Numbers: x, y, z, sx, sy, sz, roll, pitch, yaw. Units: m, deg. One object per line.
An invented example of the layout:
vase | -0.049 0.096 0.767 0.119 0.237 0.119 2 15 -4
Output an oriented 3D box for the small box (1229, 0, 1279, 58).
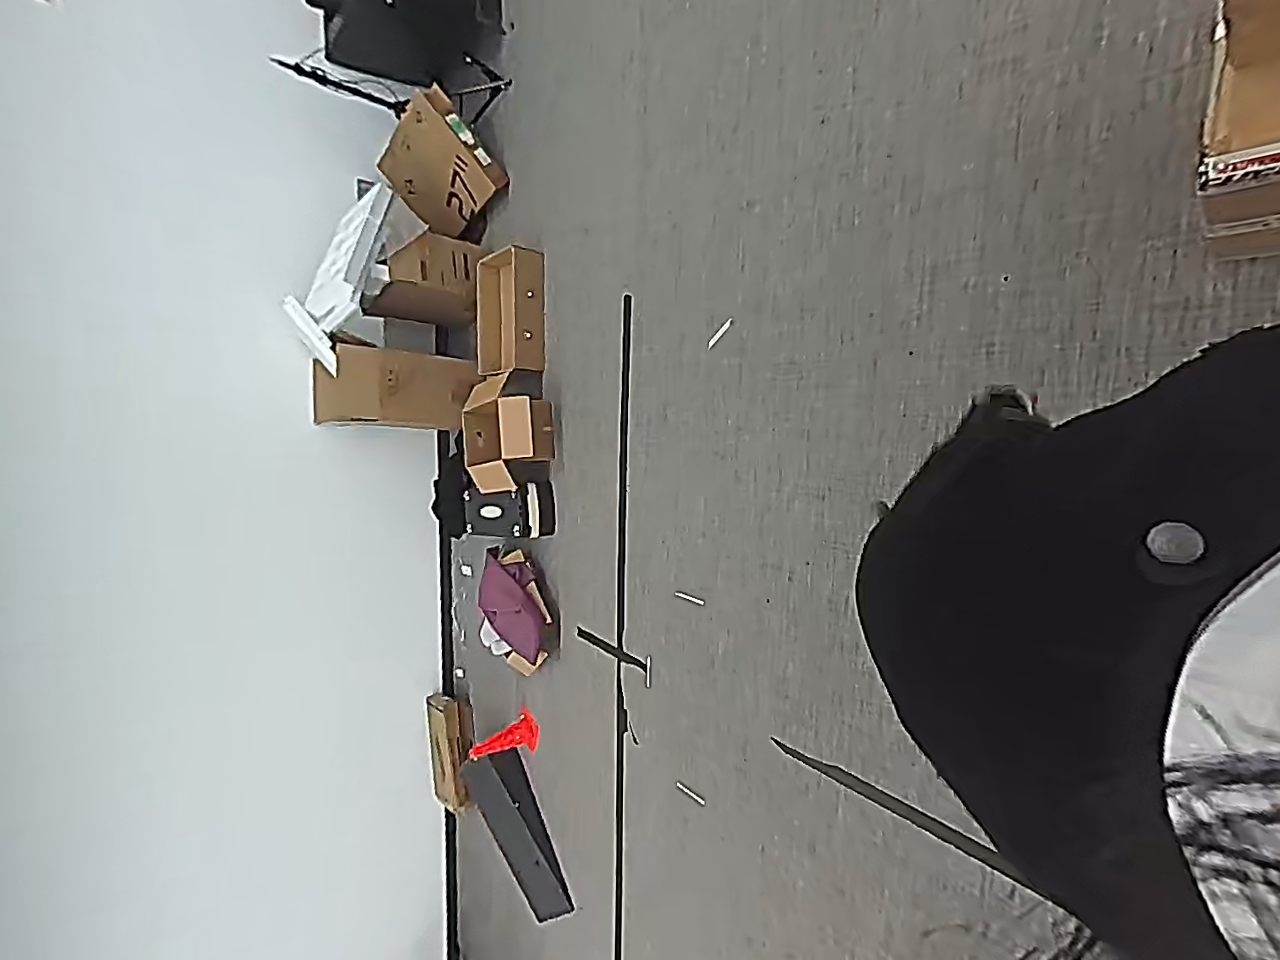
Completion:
small box | 0.744 -0.598 0.561 0.168 0.176 0.179 10 102 50
